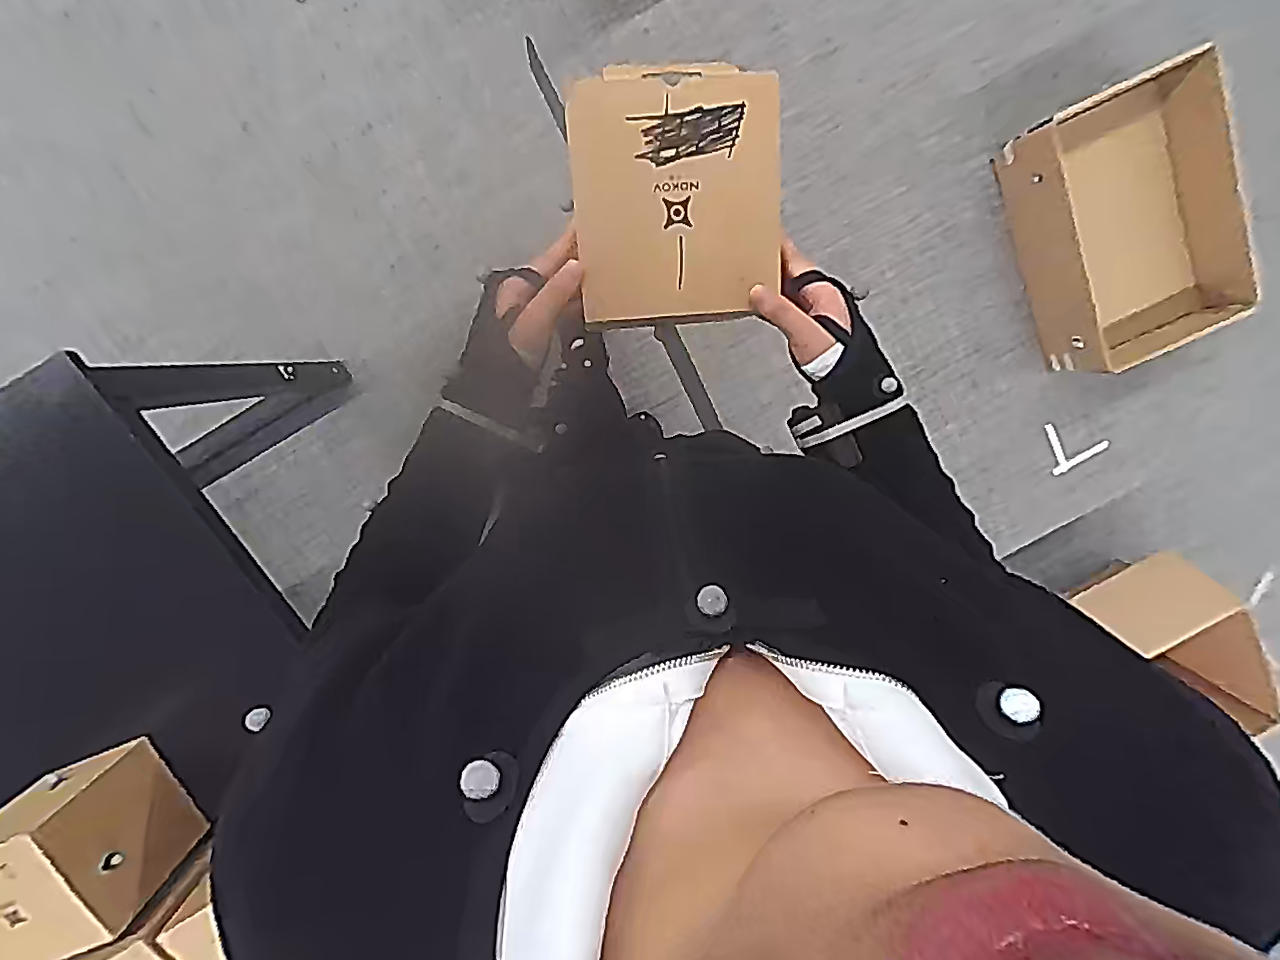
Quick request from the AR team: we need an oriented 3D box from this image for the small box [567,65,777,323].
[{"bbox_3d":[0.022,-0.248,0.510,0.168,0.176,0.179,-5,104,-3],"label":"small box"}]
